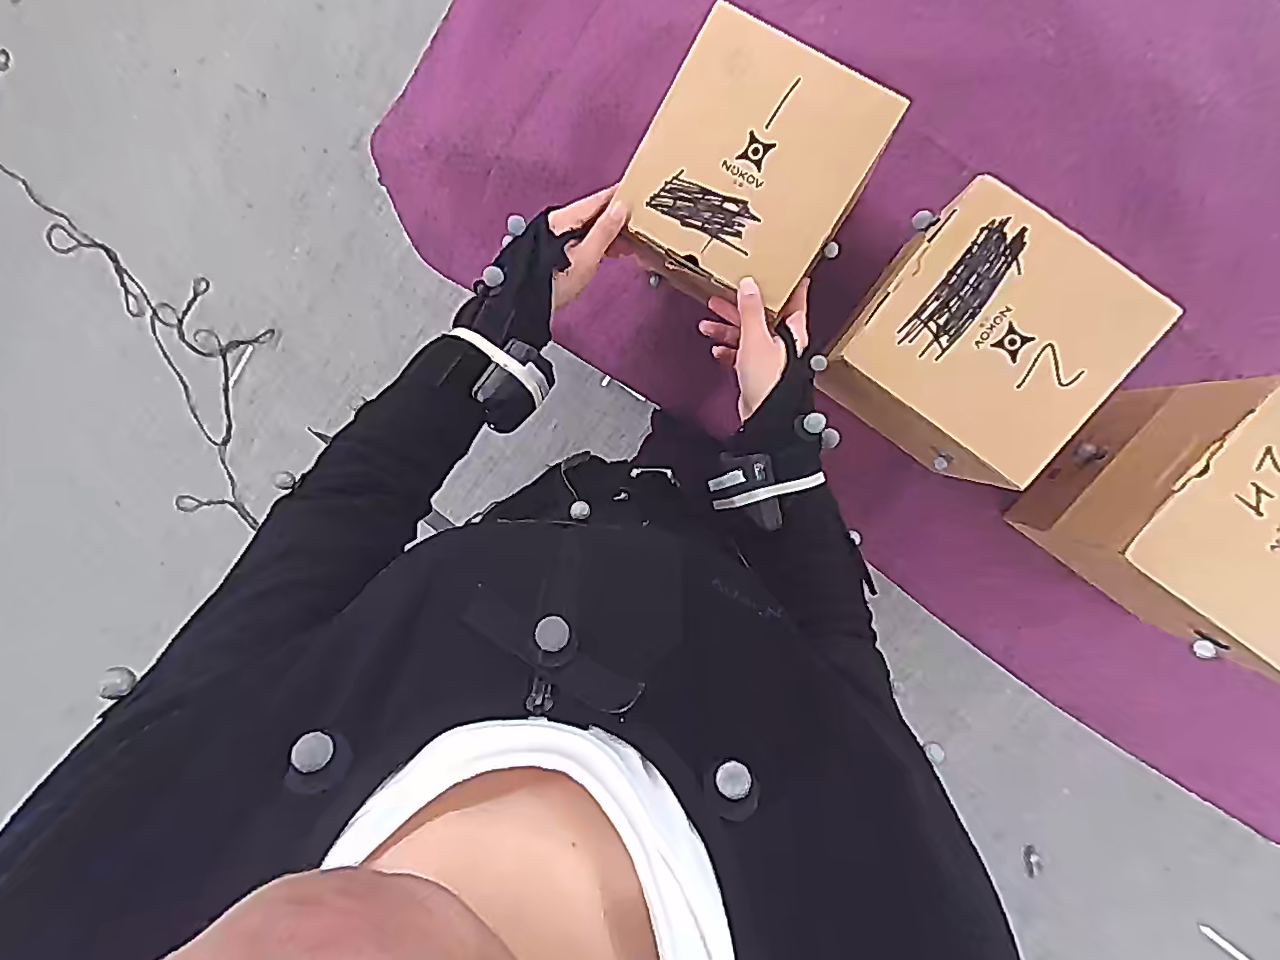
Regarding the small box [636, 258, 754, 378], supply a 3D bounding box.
[{"bbox_3d":[0.118,-0.324,1.114,0.179,0.176,0.168,32,102,5],"label":"small box"}]
